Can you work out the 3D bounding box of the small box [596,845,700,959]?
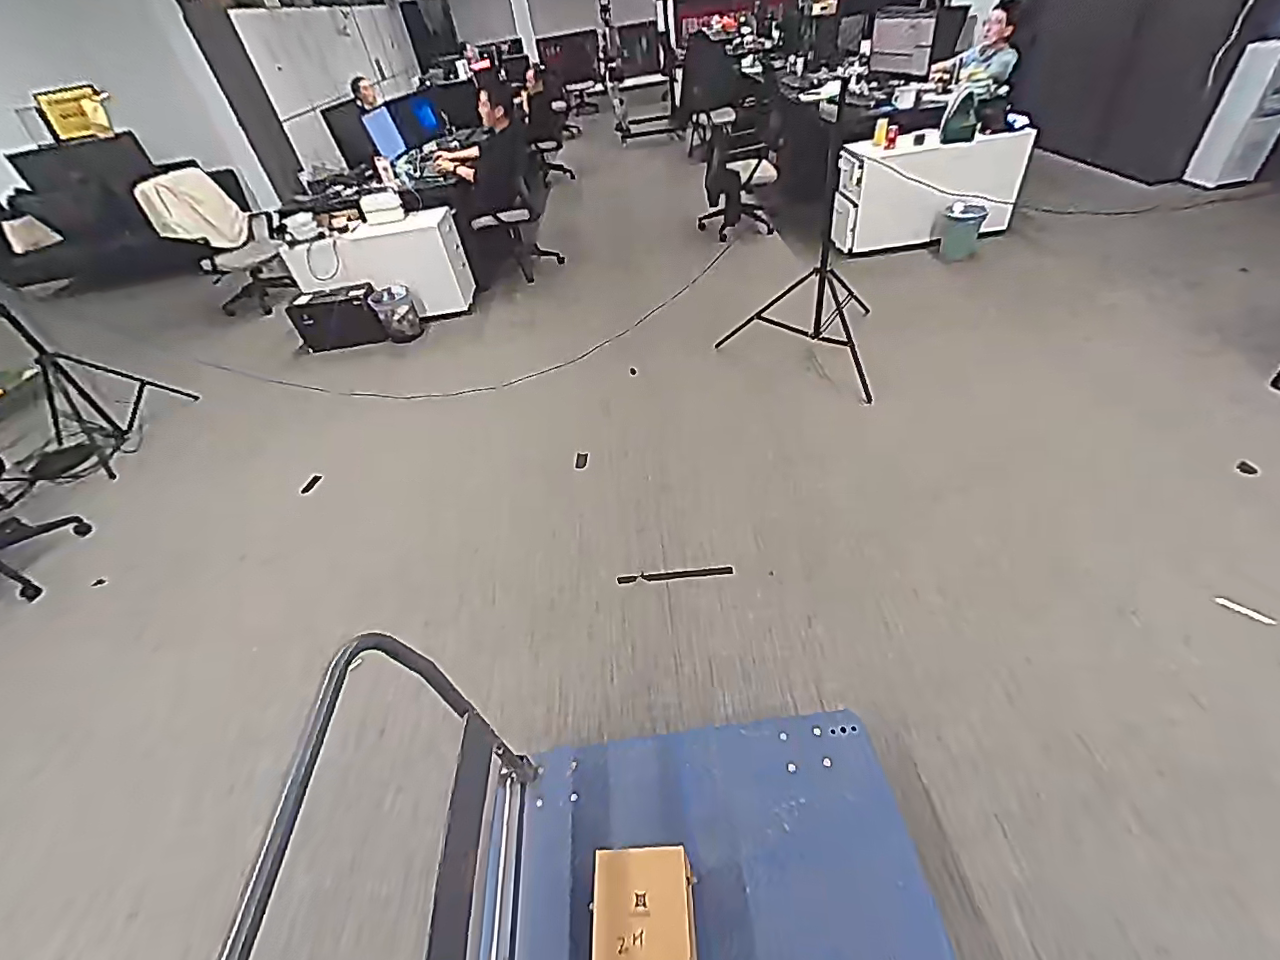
[{"bbox_3d":[0.018,0.793,0.984,0.168,0.176,0.179,-7,42,5],"label":"small box"}]
